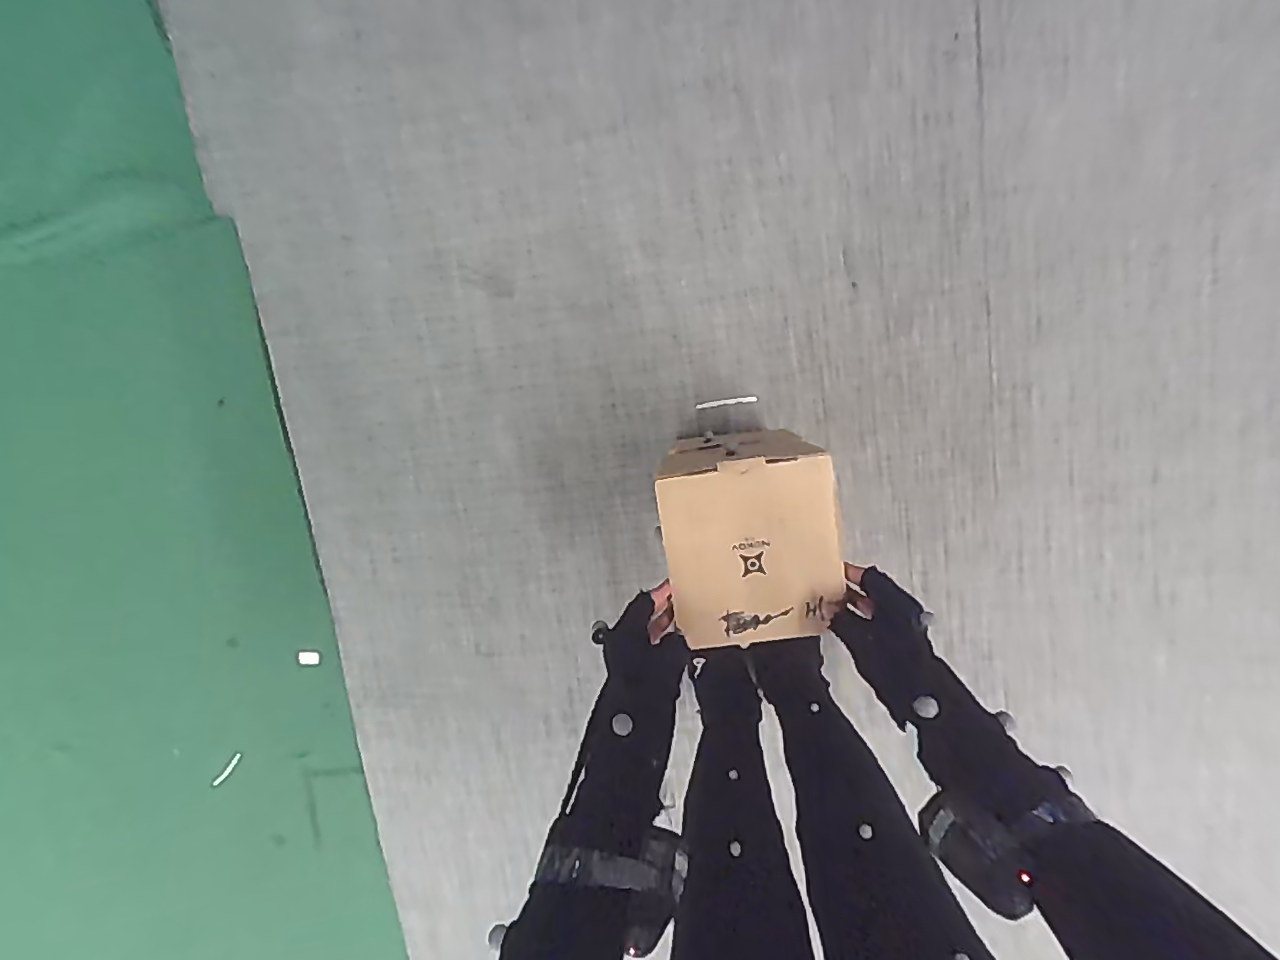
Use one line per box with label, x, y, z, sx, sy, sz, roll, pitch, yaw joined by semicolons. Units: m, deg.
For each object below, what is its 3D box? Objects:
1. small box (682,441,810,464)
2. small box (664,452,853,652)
small box;0.152;0.039;0.776;0.168;0.176;0.179;-6;98;9
small box;0.118;0.065;0.596;0.168;0.176;0.179;-8;97;6
